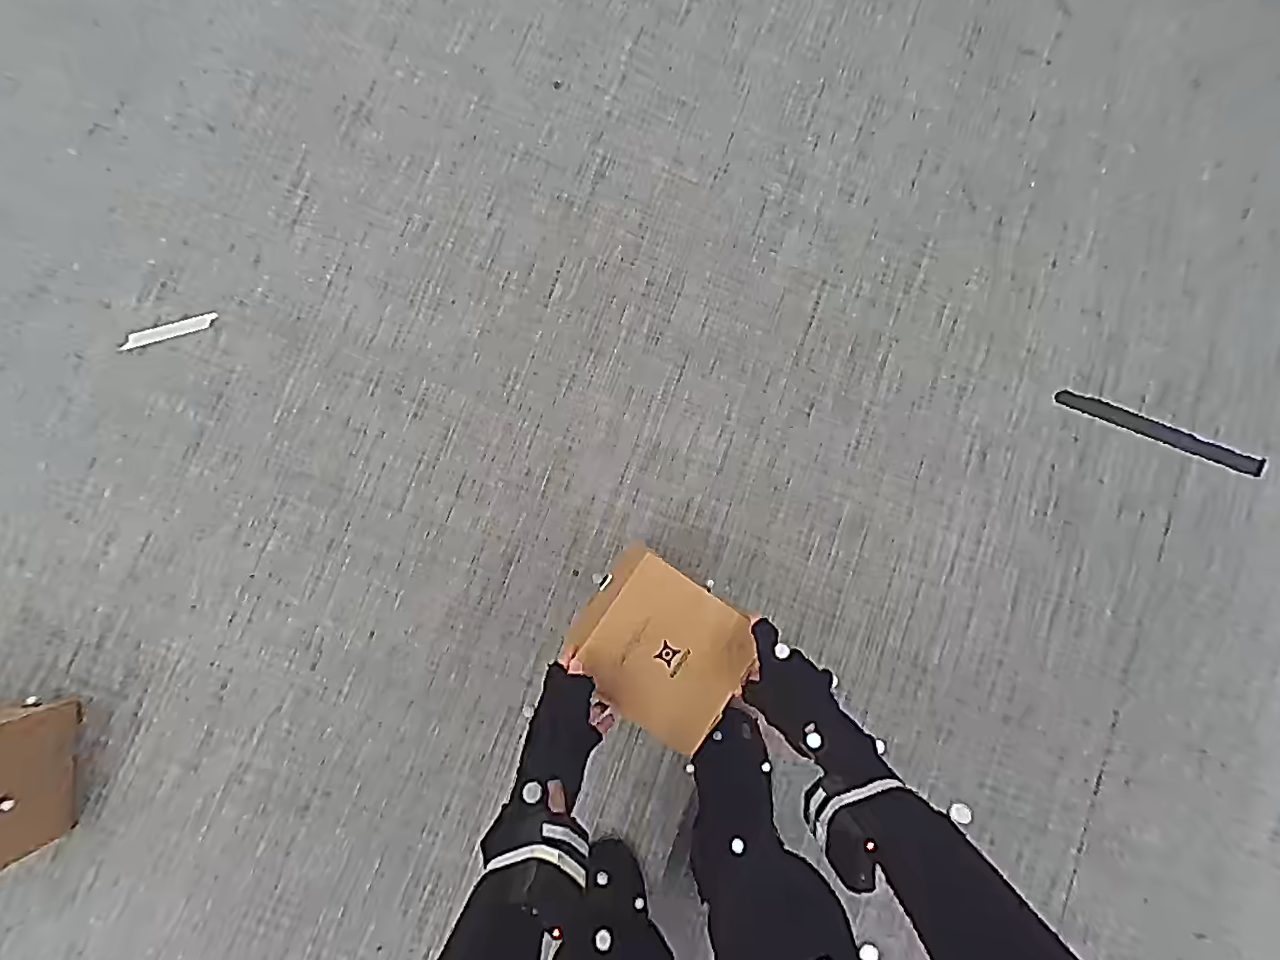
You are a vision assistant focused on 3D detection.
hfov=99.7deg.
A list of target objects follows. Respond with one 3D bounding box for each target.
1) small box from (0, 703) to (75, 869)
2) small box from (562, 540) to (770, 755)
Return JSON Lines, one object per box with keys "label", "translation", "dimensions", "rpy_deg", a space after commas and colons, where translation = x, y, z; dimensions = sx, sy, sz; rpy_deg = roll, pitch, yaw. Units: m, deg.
{"label": "small box", "translation": [-0.831, 0.374, 0.636], "dimensions": [0.168, 0.176, 0.179], "rpy_deg": [-1, 85, -4]}
{"label": "small box", "translation": [0.021, 0.188, 0.667], "dimensions": [0.179, 0.176, 0.168], "rpy_deg": [35, 85, -6]}
